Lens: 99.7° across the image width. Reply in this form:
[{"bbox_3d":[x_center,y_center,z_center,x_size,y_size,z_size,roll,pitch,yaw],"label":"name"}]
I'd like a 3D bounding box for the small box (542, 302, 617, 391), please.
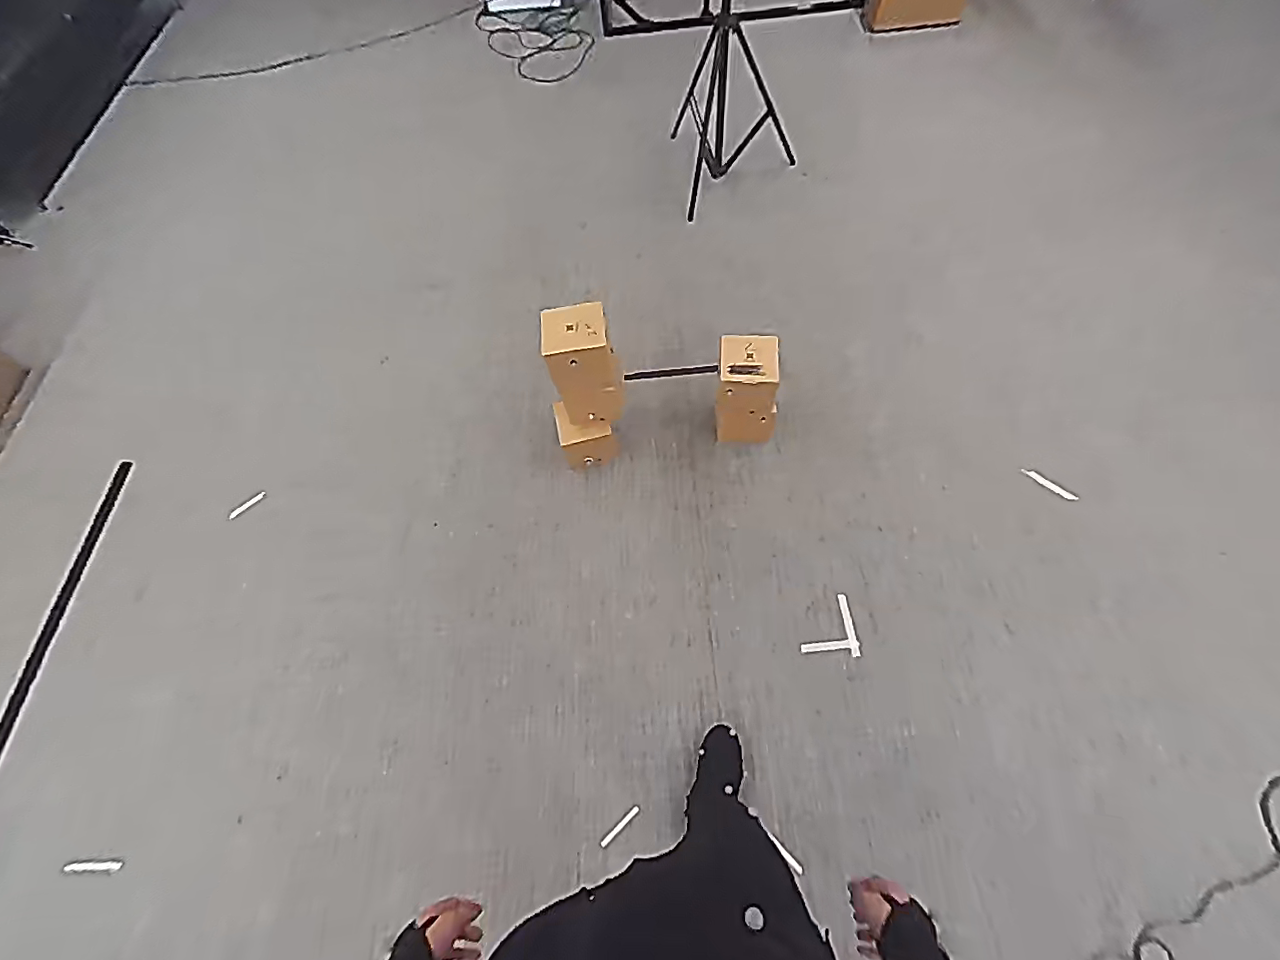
[{"bbox_3d":[-0.167,-0.367,1.509,0.179,0.176,0.168,-8,61,2],"label":"small box"}]

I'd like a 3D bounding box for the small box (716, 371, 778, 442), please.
[{"bbox_3d":[0.341,-0.235,1.764,0.179,0.176,0.168,-3,62,3],"label":"small box"}]

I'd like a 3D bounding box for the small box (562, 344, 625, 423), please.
[{"bbox_3d":[-0.137,-0.291,1.653,0.168,0.176,0.179,-1,62,6],"label":"small box"}]

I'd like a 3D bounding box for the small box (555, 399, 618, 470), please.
[{"bbox_3d":[-0.173,-0.160,1.772,0.168,0.176,0.179,-14,62,-1],"label":"small box"}]
